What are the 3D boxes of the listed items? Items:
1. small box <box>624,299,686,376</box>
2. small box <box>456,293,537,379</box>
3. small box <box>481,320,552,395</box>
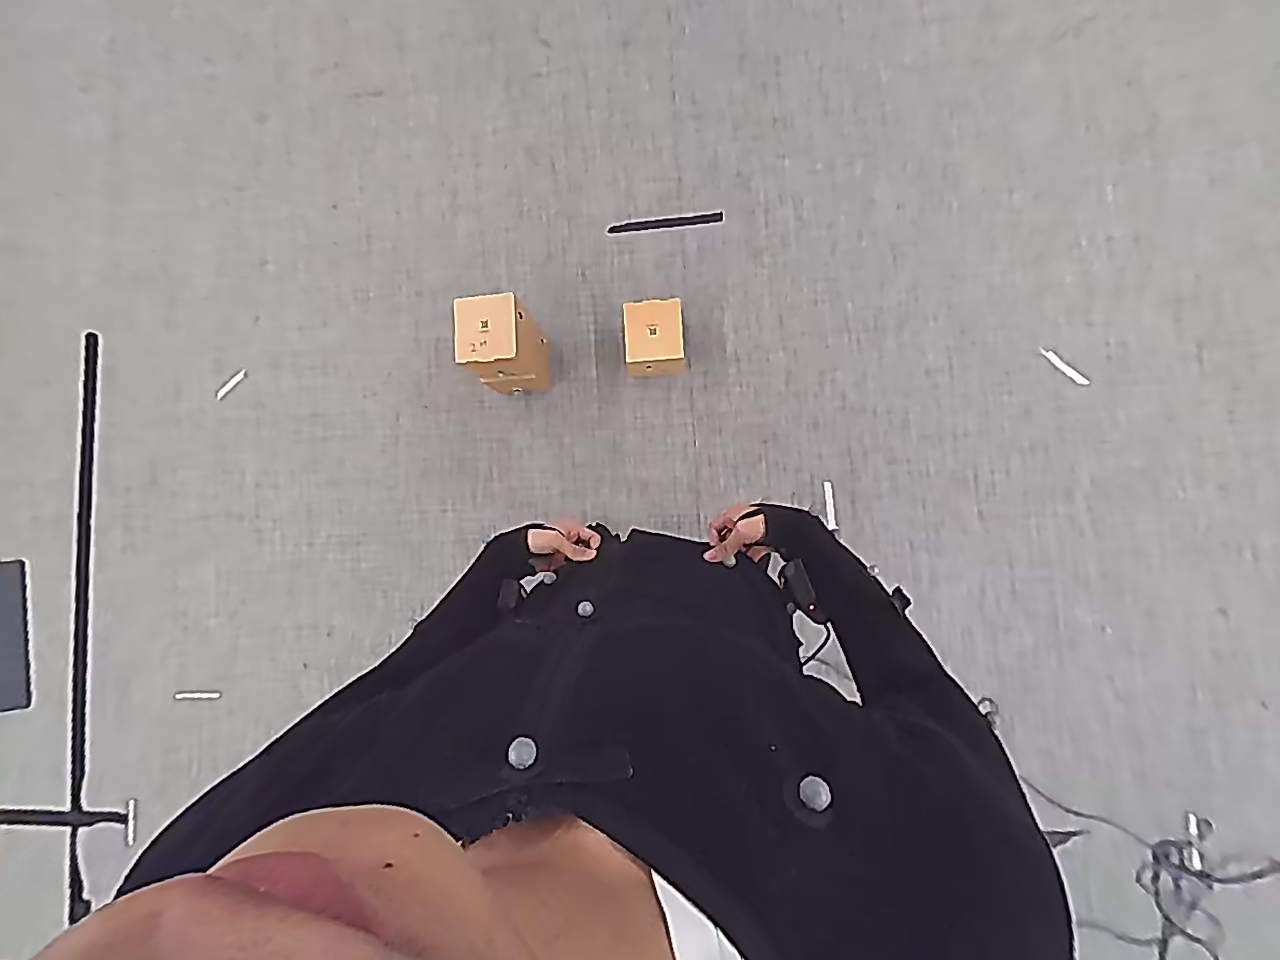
[{"bbox_3d":[0.048,-0.411,1.590,0.168,0.176,0.179,-4,85,5],"label":"small box"},{"bbox_3d":[-0.384,-0.382,1.463,0.168,0.176,0.179,-4,87,7],"label":"small box"},{"bbox_3d":[-0.367,-0.363,1.625,0.168,0.176,0.179,-3,86,7],"label":"small box"}]
